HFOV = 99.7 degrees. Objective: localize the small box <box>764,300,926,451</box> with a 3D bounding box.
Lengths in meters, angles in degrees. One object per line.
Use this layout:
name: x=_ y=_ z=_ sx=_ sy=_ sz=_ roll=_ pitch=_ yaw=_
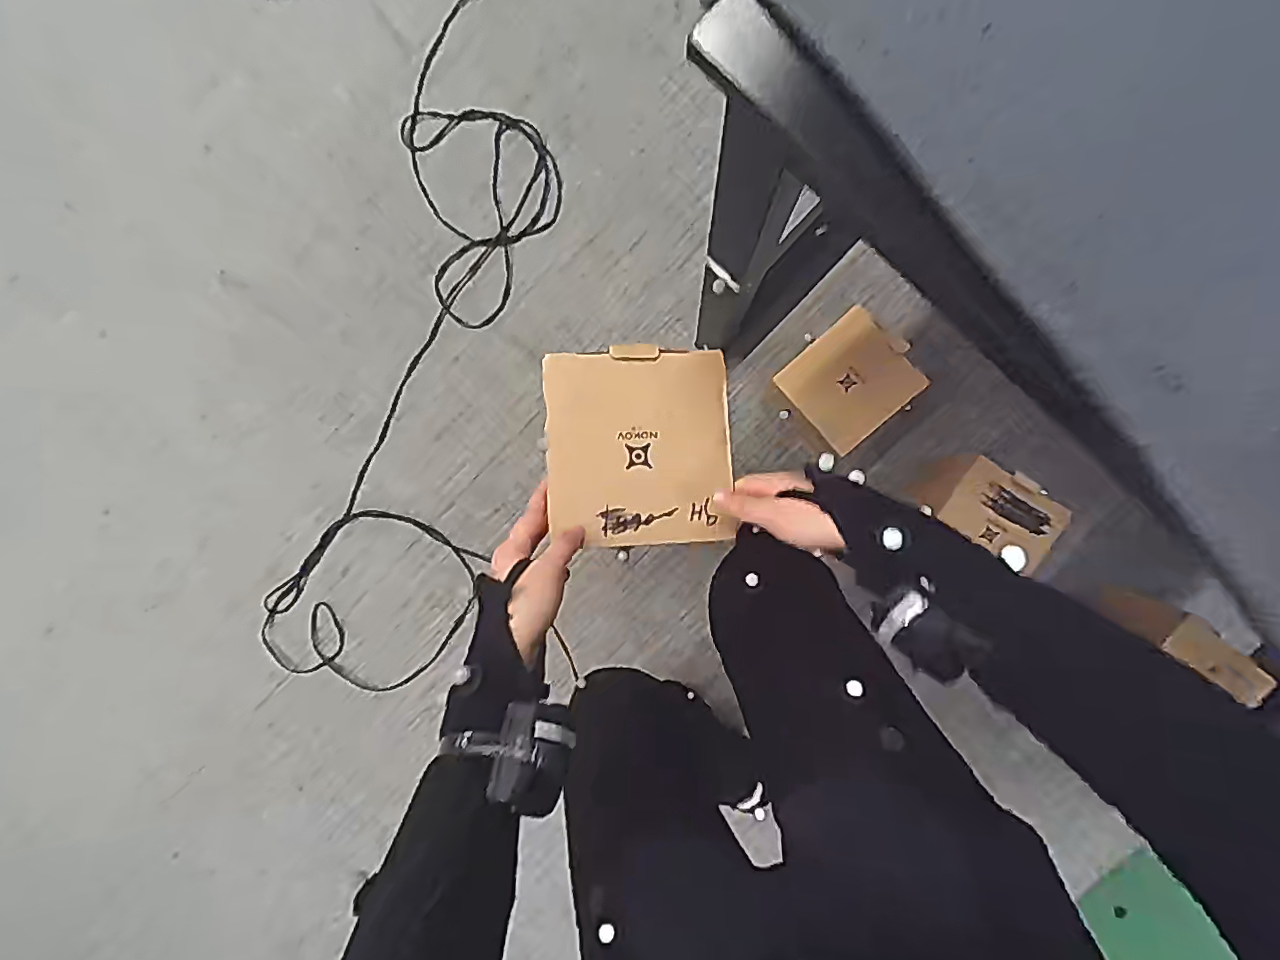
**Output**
small box: x=0.324 y=-0.160 z=0.904 sx=0.179 sy=0.176 sz=0.168 roll=-42 pitch=88 yaw=4
